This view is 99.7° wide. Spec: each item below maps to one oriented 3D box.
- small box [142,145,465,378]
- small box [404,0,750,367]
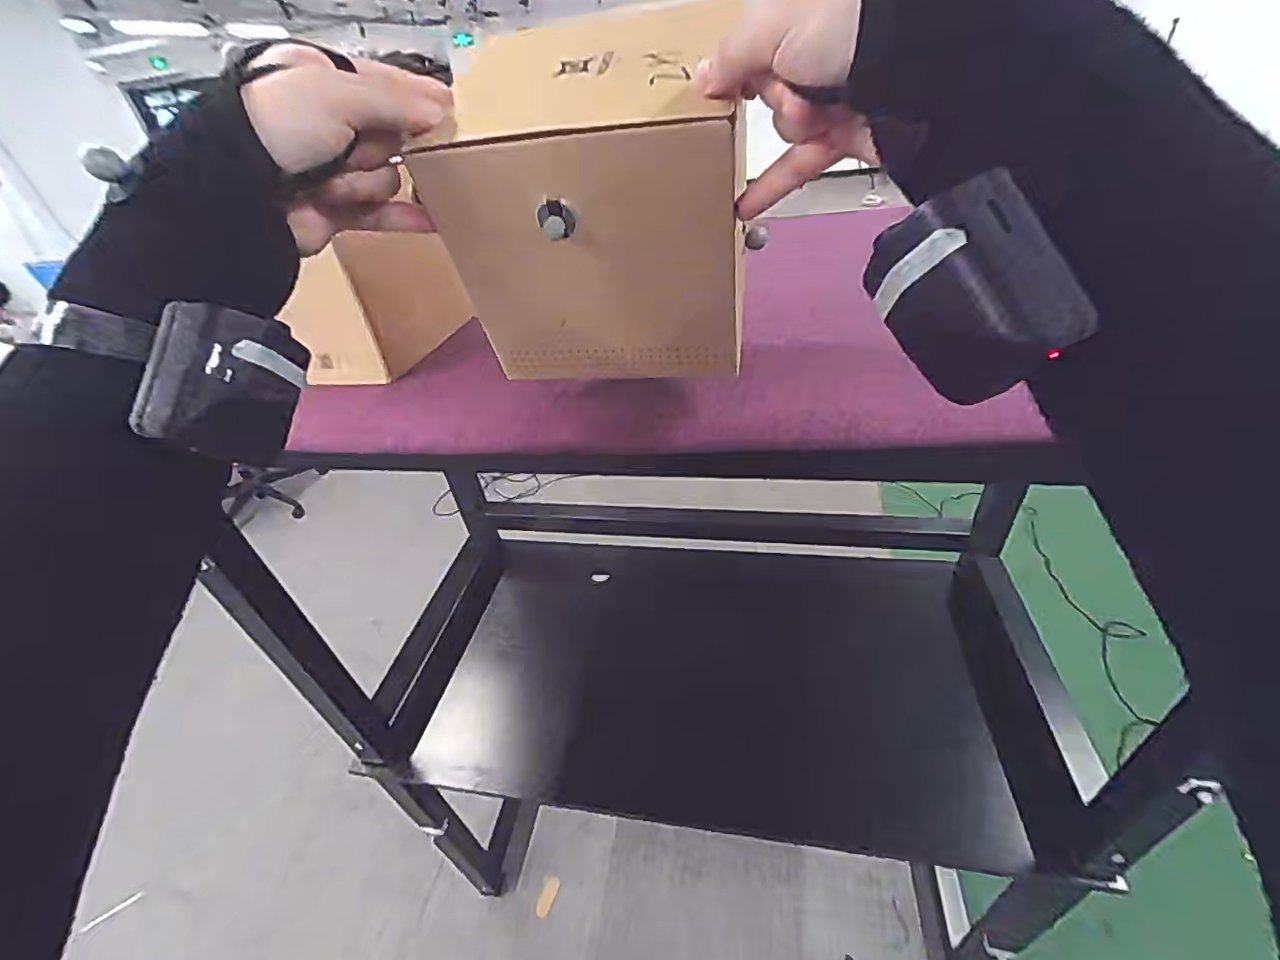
[{"bbox_3d":[-0.296,-0.208,0.526,0.168,0.176,0.179,1,37,13],"label":"small box"},{"bbox_3d":[-0.016,-0.193,0.373,0.179,0.176,0.168,2,56,12],"label":"small box"}]
